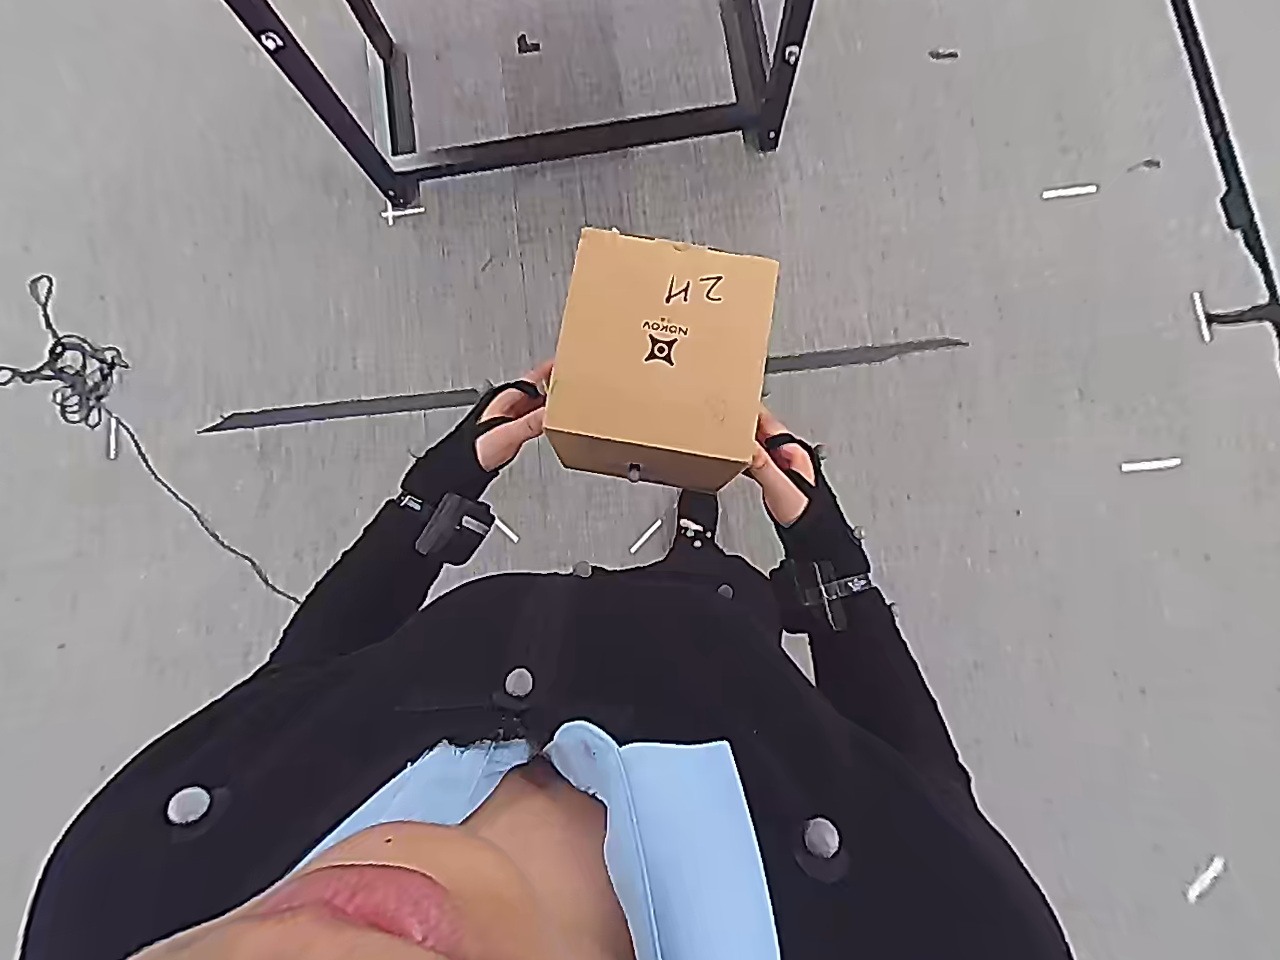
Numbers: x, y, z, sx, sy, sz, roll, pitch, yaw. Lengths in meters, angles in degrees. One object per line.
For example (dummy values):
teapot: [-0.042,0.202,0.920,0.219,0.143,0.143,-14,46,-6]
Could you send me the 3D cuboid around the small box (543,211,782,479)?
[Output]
small box: [0.018,-0.106,0.499,0.168,0.176,0.179,10,80,0]
